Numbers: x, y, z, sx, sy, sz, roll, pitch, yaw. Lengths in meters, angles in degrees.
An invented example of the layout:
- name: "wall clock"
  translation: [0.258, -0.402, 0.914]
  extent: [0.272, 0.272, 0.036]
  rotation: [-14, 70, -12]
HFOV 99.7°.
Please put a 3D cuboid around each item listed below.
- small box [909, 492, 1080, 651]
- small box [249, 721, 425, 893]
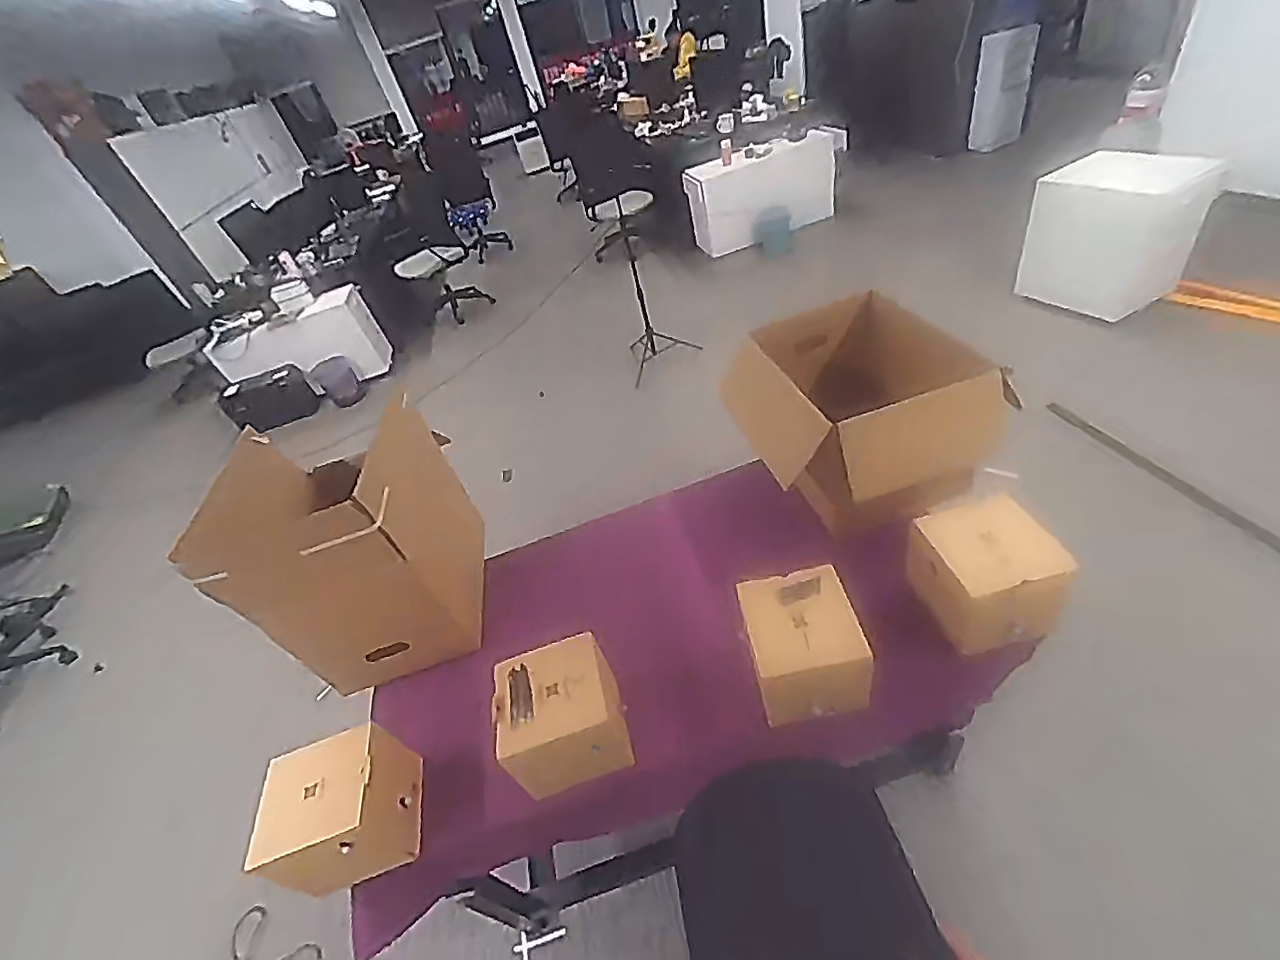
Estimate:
- name: "small box"
  translation: [0.574, 0.154, 0.908]
  extent: [0.168, 0.176, 0.179]
  rotation: [-17, 40, 3]
- name: "small box"
  translation: [-0.478, 0.537, 0.883]
  extent: [0.179, 0.176, 0.168]
  rotation: [-21, 40, -4]
